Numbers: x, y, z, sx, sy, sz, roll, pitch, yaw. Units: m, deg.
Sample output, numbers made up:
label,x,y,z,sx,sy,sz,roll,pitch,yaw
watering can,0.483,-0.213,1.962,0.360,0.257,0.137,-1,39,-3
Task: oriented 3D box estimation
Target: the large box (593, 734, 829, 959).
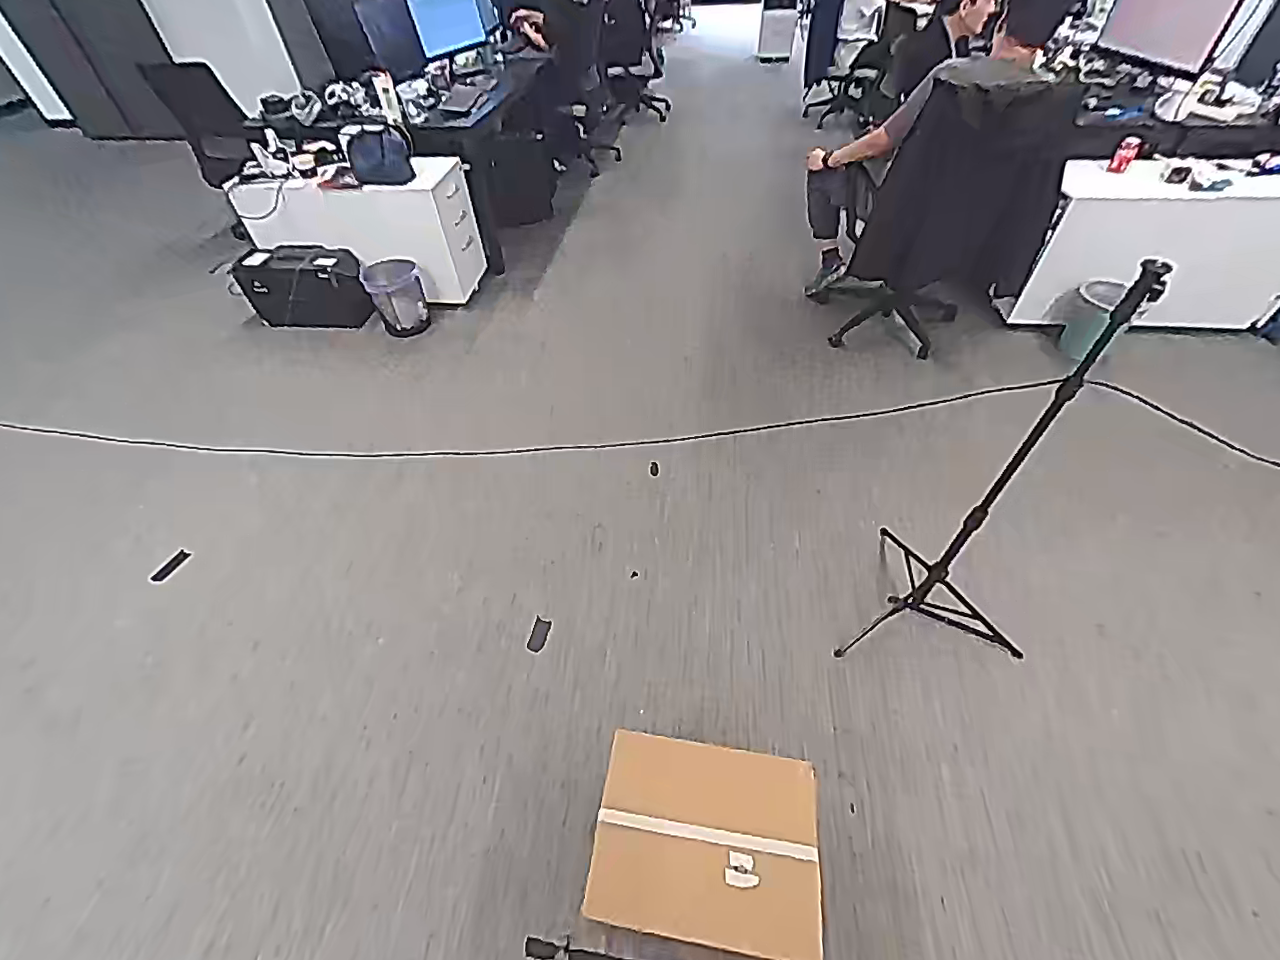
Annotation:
label,x,y,z,sx,sy,sz,roll,pitch,yaw
large box,0.137,0.759,1.109,0.408,0.320,0.320,6,49,8
